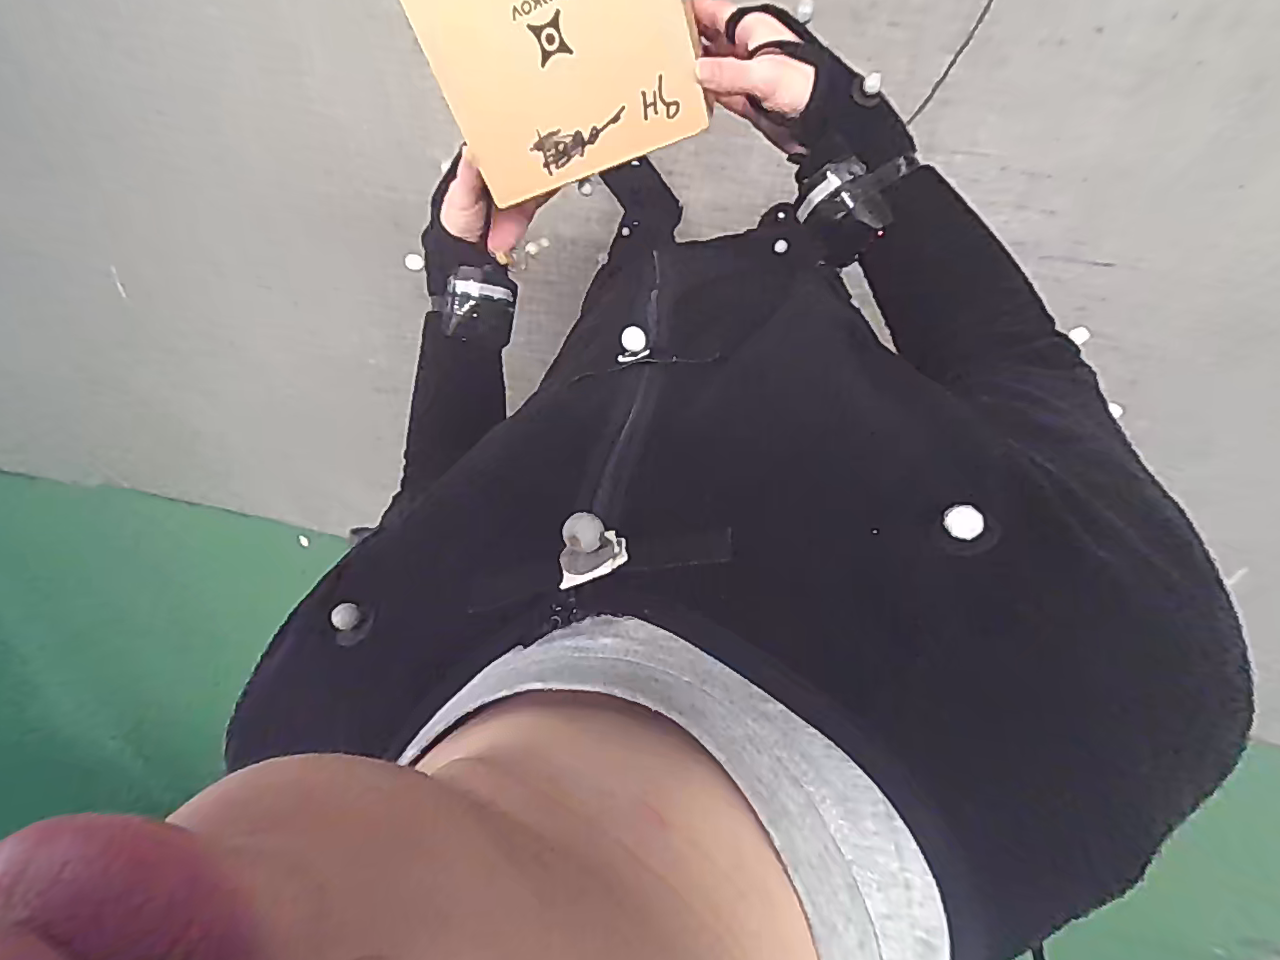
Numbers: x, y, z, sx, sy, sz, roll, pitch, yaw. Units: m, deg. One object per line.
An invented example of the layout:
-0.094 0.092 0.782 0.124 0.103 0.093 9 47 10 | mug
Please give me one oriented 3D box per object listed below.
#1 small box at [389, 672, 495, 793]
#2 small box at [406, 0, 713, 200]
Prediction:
-0.442 0.570 1.233 0.168 0.176 0.179 12 124 5 | small box
-0.047 -0.335 0.389 0.168 0.176 0.179 -10 127 18 | small box
